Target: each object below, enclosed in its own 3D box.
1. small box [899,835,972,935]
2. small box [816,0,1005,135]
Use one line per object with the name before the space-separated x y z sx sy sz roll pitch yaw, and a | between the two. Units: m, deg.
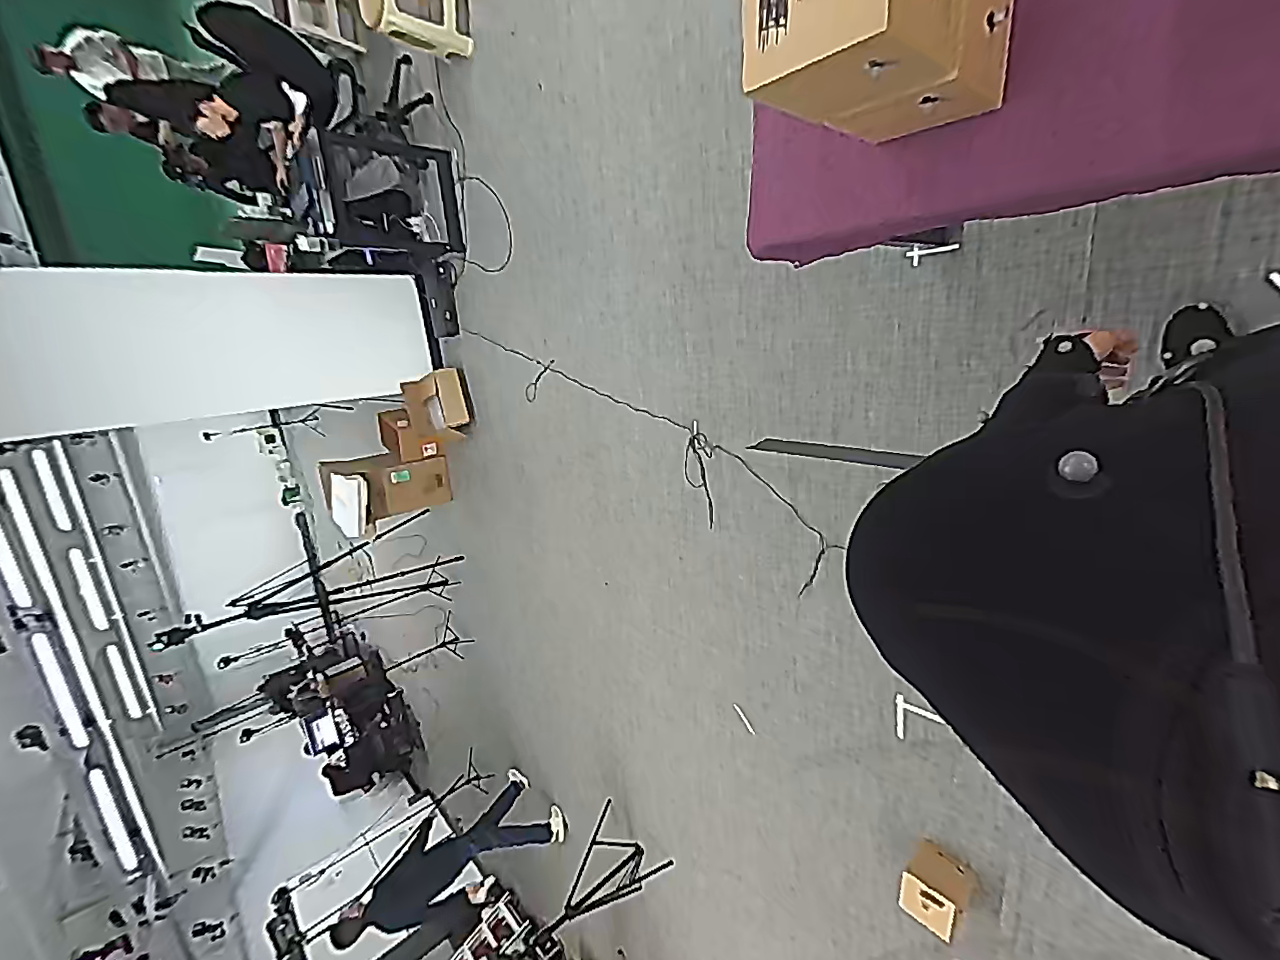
small box | 1.015 1.375 1.852 0.168 0.176 0.179 17 117 46
small box | 0.355 -0.578 0.708 0.179 0.176 0.168 15 115 46
